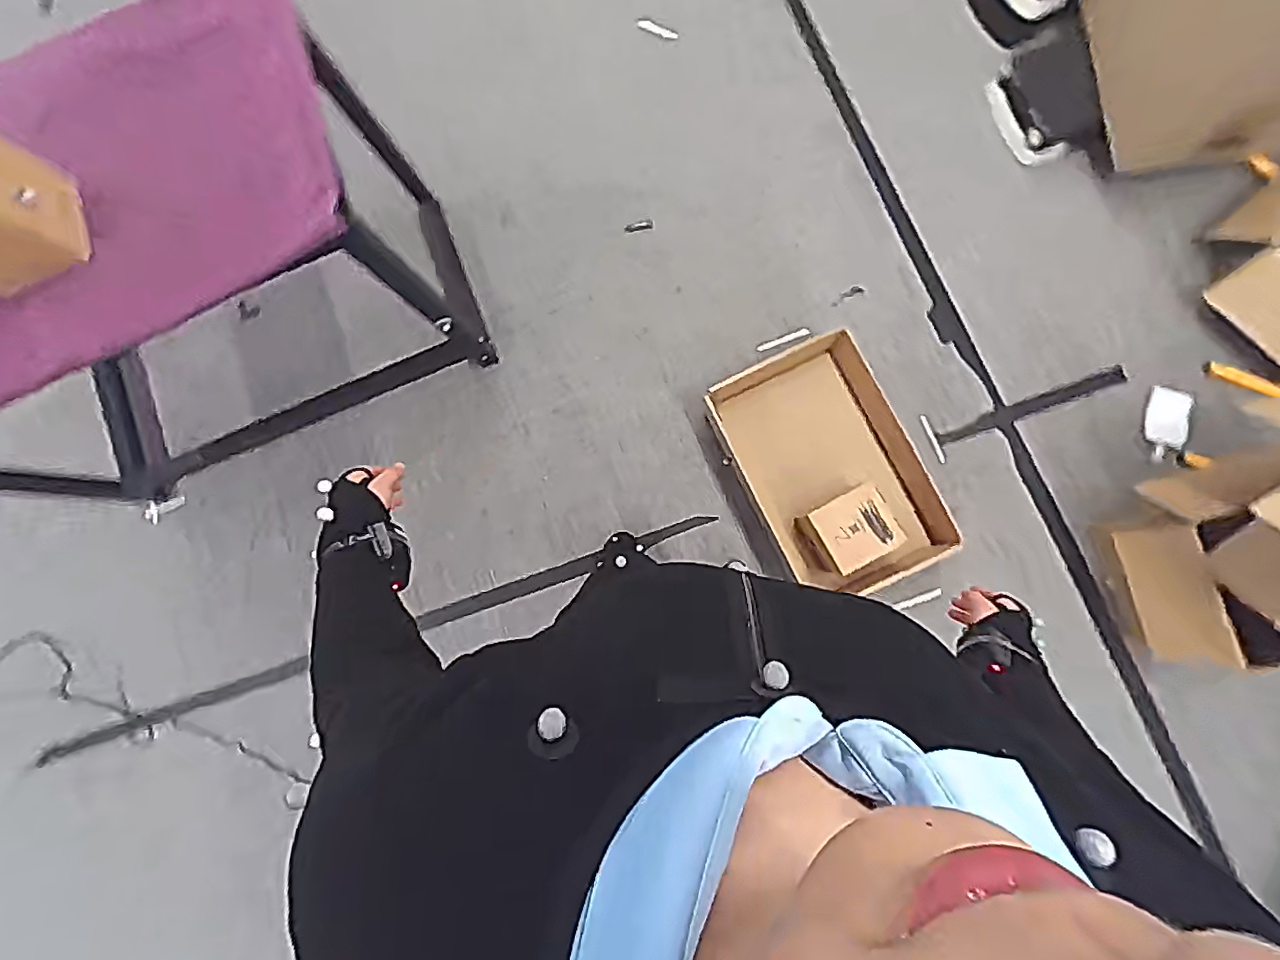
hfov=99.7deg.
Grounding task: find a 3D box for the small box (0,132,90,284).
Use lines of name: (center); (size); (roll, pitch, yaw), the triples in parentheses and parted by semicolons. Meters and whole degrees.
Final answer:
small box: (-1.060, -0.453, 0.883); (0.179, 0.176, 0.168); (-20, 82, 3)
